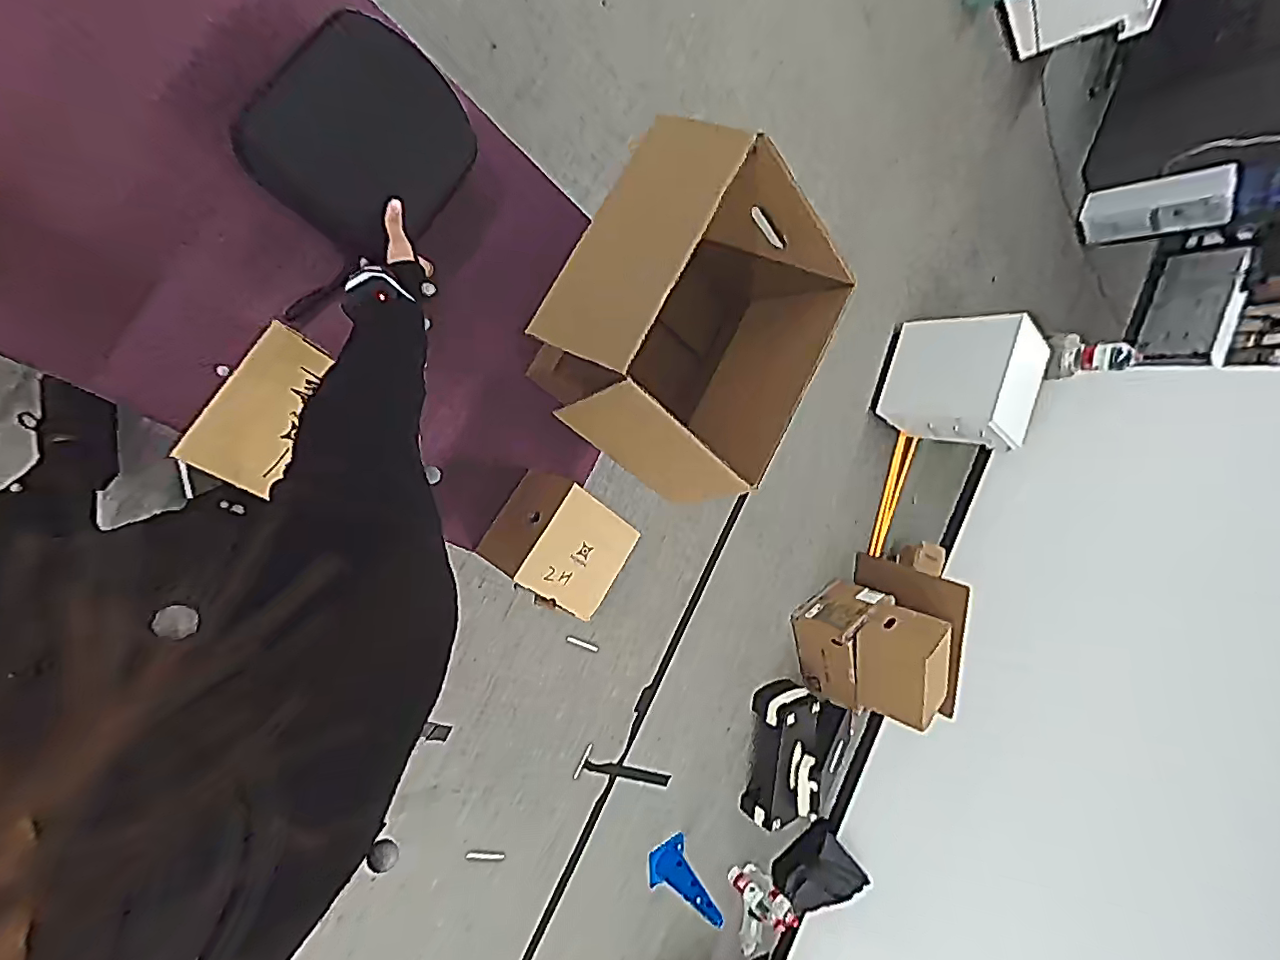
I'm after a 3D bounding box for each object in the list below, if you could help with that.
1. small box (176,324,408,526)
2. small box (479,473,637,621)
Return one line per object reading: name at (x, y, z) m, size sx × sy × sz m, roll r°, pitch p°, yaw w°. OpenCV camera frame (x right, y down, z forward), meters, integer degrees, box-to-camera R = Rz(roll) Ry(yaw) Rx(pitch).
small box at (-0.430, -0.070, 0.676) m, size 0.168 × 0.176 × 0.179 m, roll 38°, pitch 77°, yaw -35°
small box at (-0.145, 0.105, 0.923) m, size 0.168 × 0.176 × 0.179 m, roll 41°, pitch 74°, yaw -34°
